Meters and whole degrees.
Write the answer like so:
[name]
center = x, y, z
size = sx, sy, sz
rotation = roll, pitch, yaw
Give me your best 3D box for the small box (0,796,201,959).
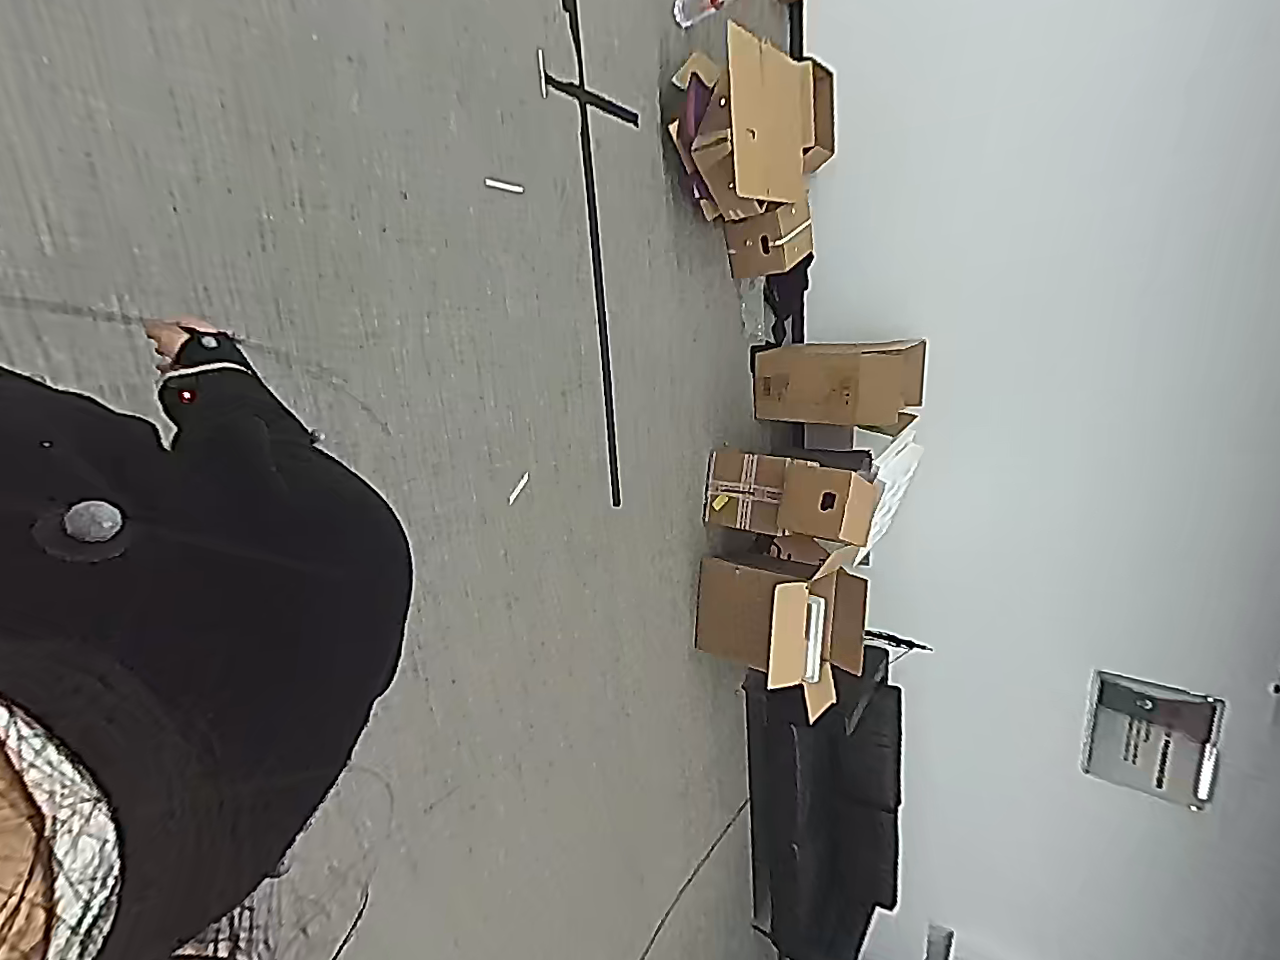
[small box]
center = -0.655, 0.512, 0.638
size = 0.168, 0.176, 0.179
rotation = -13, 105, -50
